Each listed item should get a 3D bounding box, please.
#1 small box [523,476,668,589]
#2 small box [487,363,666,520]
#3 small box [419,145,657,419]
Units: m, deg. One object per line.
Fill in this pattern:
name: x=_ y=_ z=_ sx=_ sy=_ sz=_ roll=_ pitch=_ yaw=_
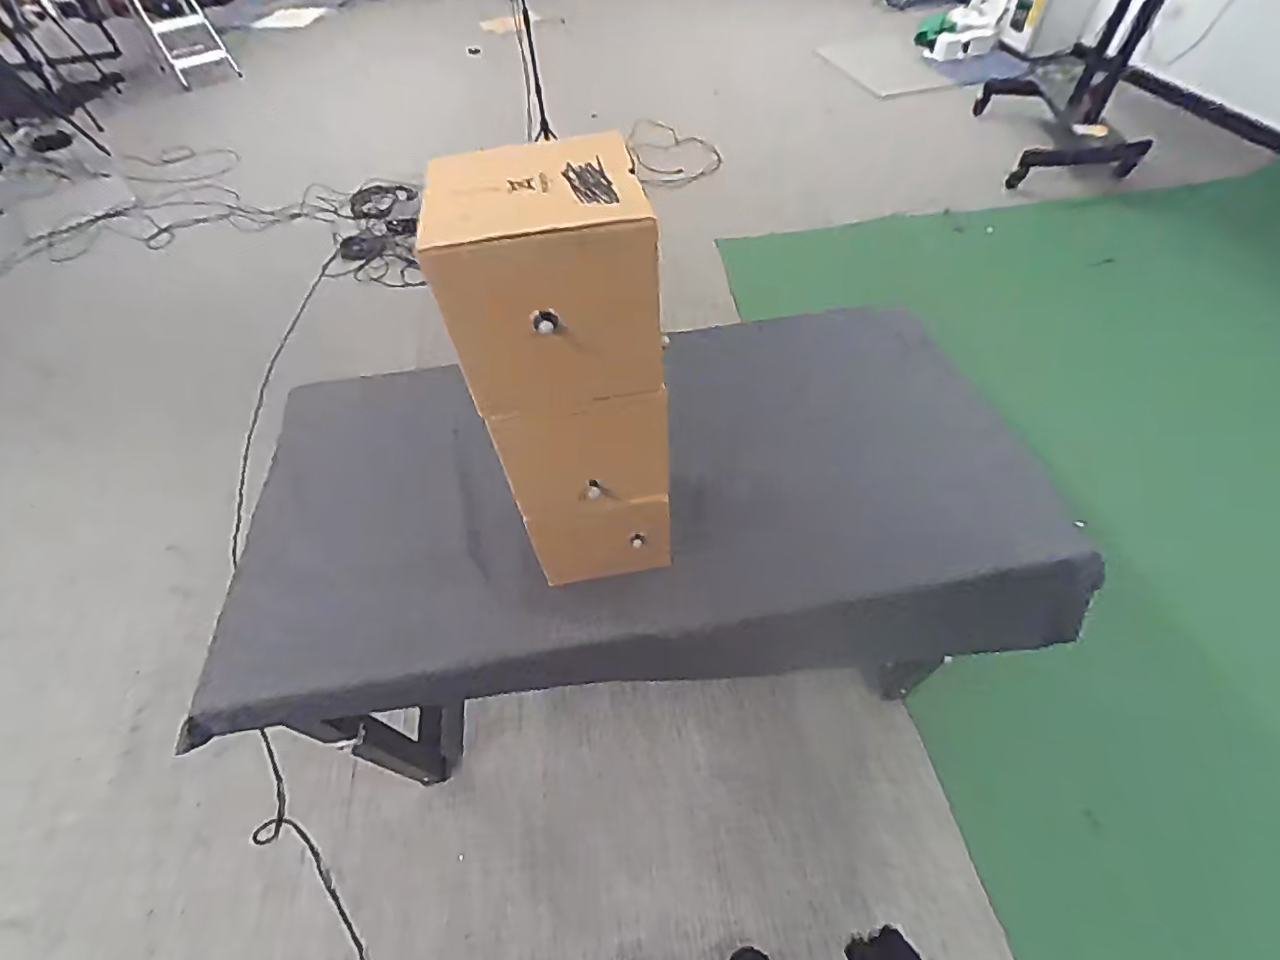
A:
small box: x=-0.061 y=0.031 z=0.754 sx=0.179 sy=0.176 sz=0.168 roll=-10 pitch=51 yaw=-3
small box: x=-0.071 y=-0.074 z=0.630 sx=0.179 sy=0.176 sz=0.168 roll=-10 pitch=50 yaw=-5
small box: x=-0.082 y=-0.179 z=0.503 sx=0.179 sy=0.176 sz=0.168 roll=-10 pitch=51 yaw=-4
